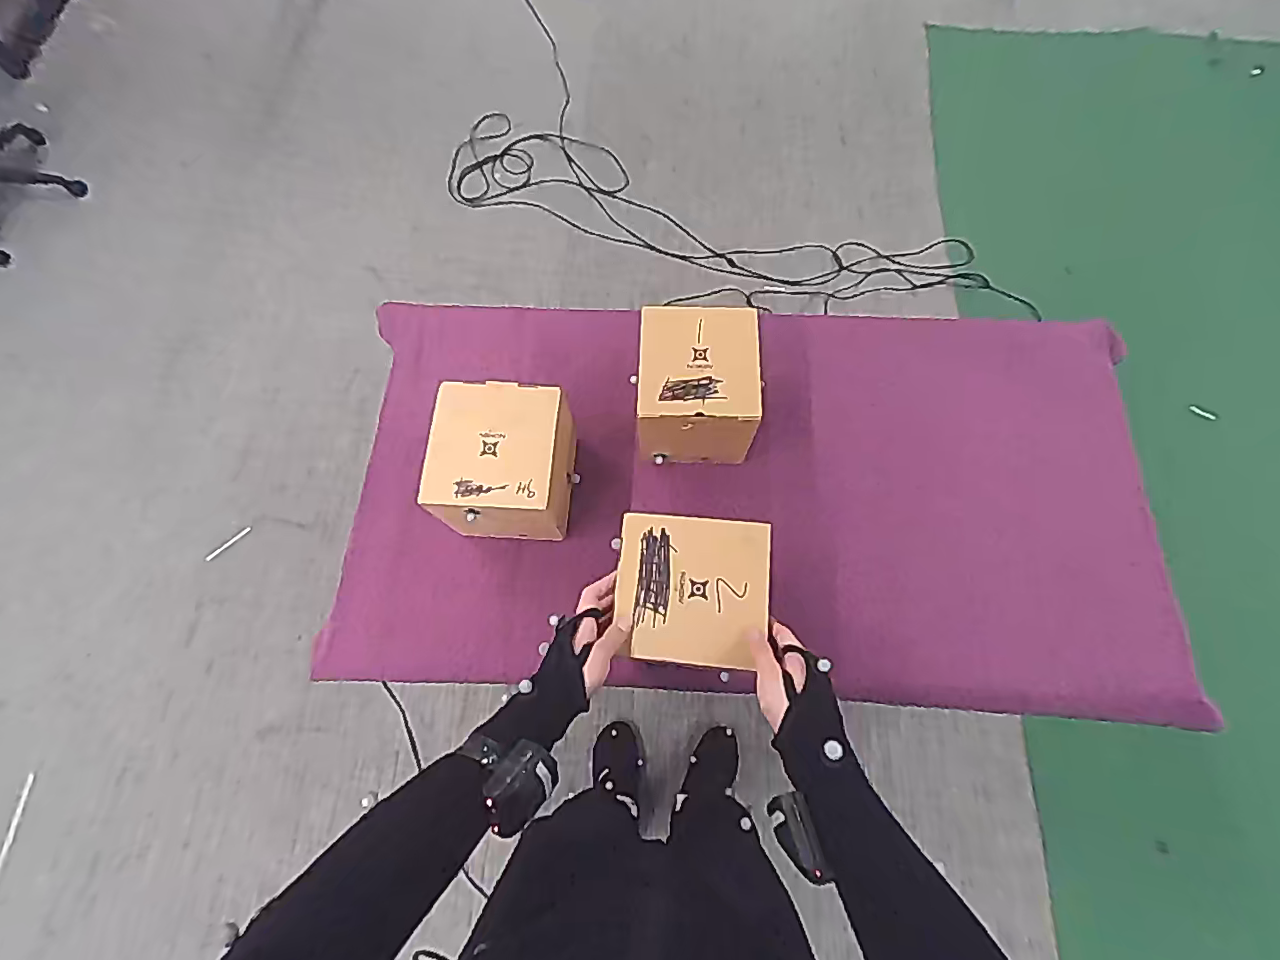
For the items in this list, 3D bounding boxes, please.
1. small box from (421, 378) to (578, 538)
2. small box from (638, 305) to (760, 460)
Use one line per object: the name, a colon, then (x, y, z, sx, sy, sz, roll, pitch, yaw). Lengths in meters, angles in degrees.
small box: (-0.187, -0.026, 0.778, 0.168, 0.176, 0.179, 3, 70, 3)
small box: (0.085, -0.139, 0.815, 0.168, 0.176, 0.179, 2, 70, 2)
